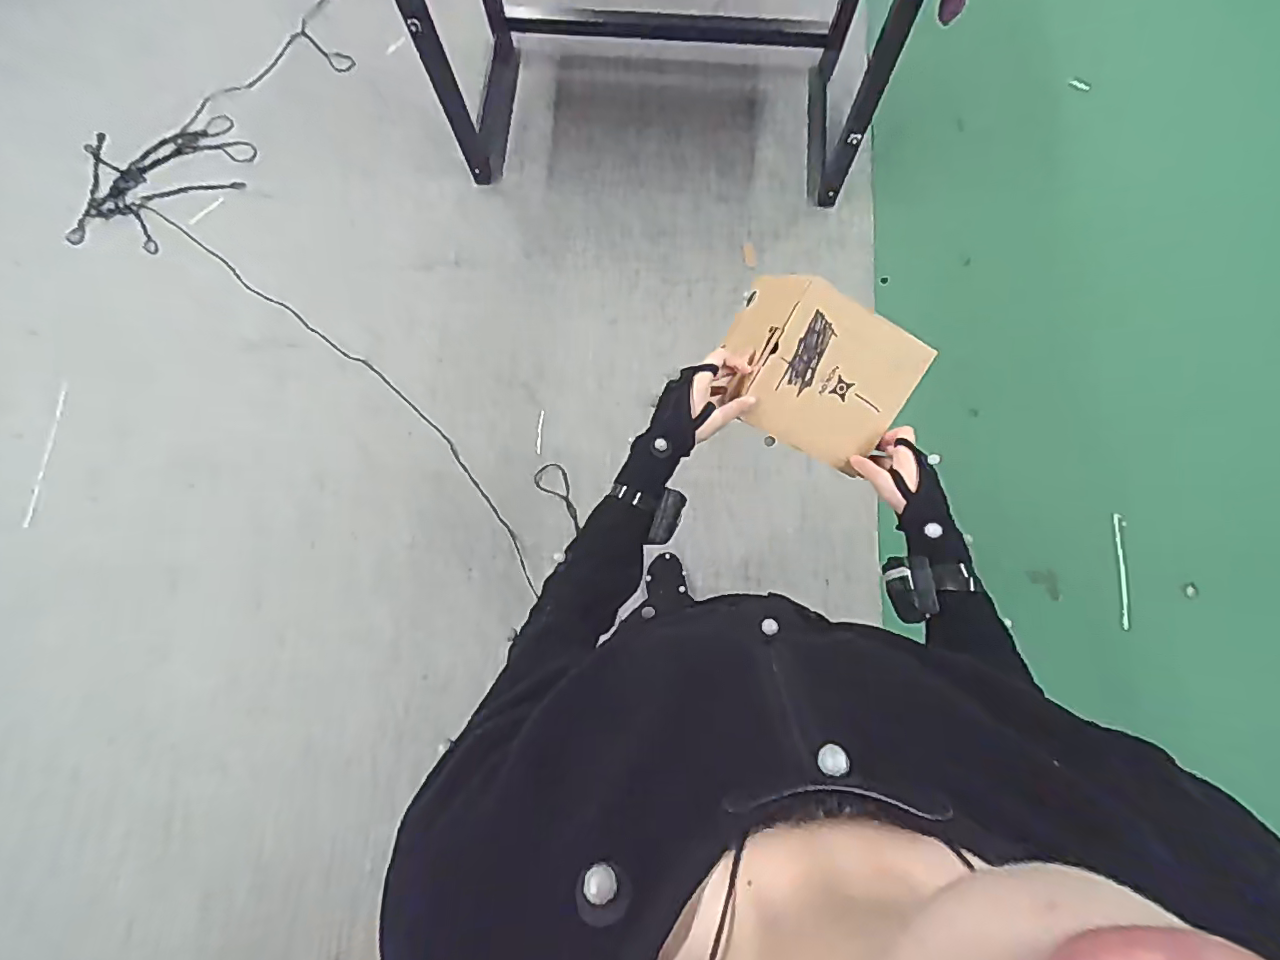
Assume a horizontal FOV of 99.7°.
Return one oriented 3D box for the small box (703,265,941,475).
[{"bbox_3d":[0.198,-0.133,0.645,0.179,0.176,0.168,25,104,-17],"label":"small box"}]
